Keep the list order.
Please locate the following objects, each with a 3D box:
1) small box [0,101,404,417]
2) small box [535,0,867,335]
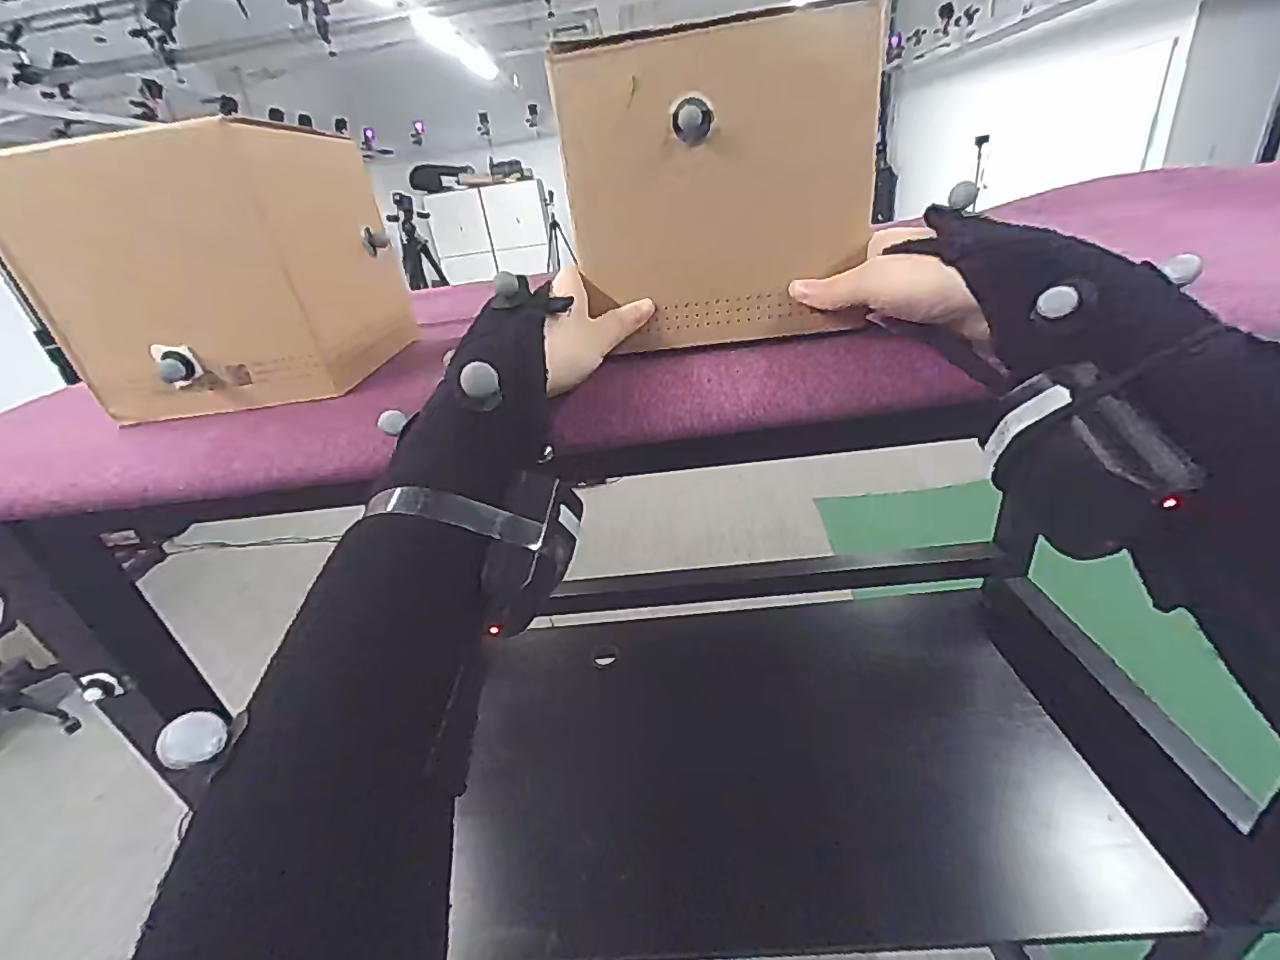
[{"bbox_3d":[-0.302,-0.162,0.405,0.168,0.176,0.179,-9,30,2],"label":"small box"},{"bbox_3d":[0.046,-0.204,0.378,0.179,0.176,0.168,-4,27,7],"label":"small box"}]
